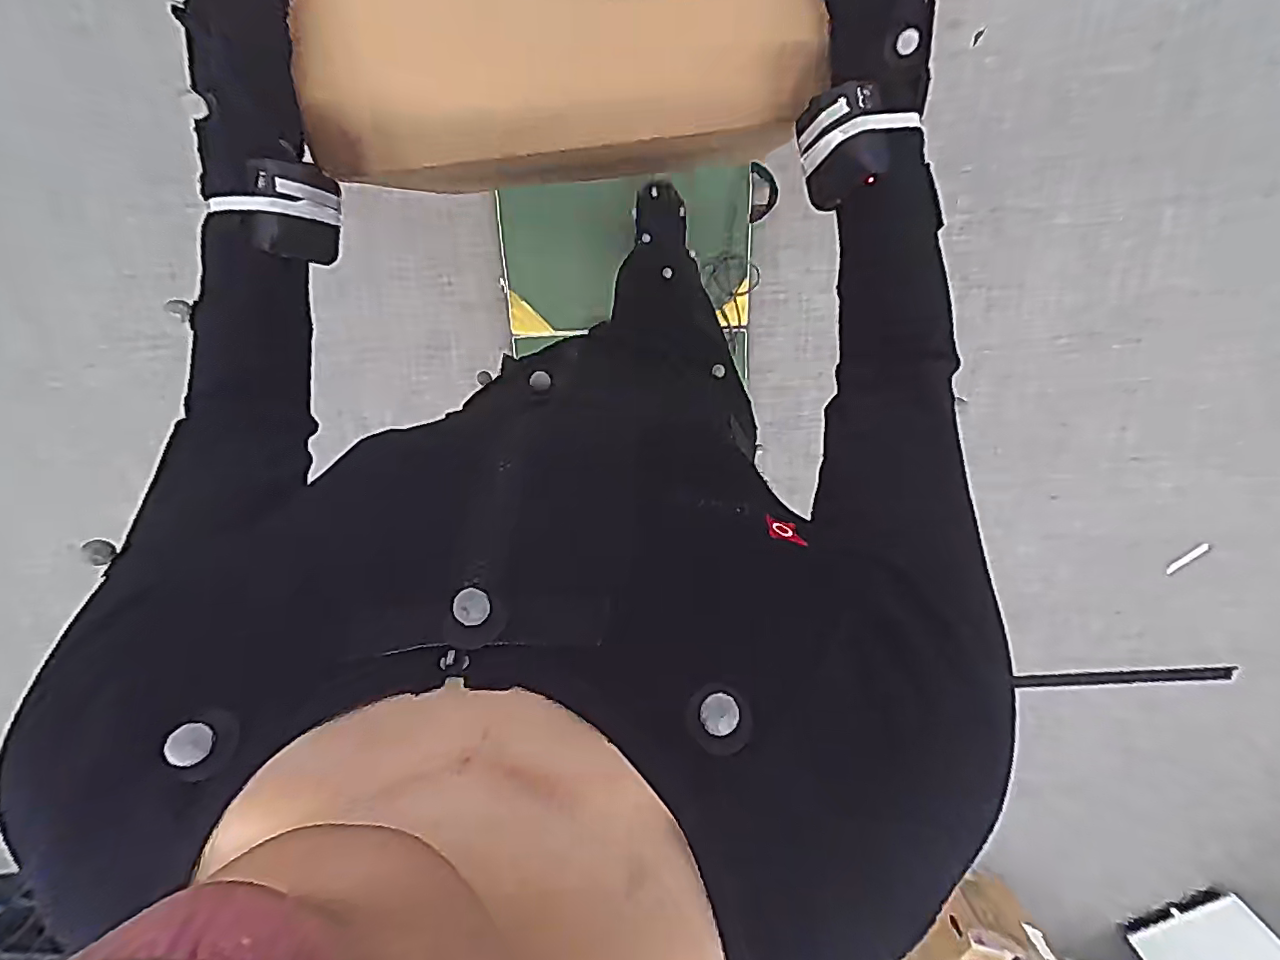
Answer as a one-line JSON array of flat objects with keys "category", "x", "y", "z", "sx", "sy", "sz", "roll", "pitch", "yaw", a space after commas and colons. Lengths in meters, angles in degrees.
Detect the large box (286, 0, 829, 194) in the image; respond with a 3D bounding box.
[{"category": "large box", "x": -0.069, "y": -0.474, "z": 0.505, "sx": 0.408, "sy": 0.320, "sz": 0.320, "roll": -6, "pitch": 115, "yaw": 3}]
